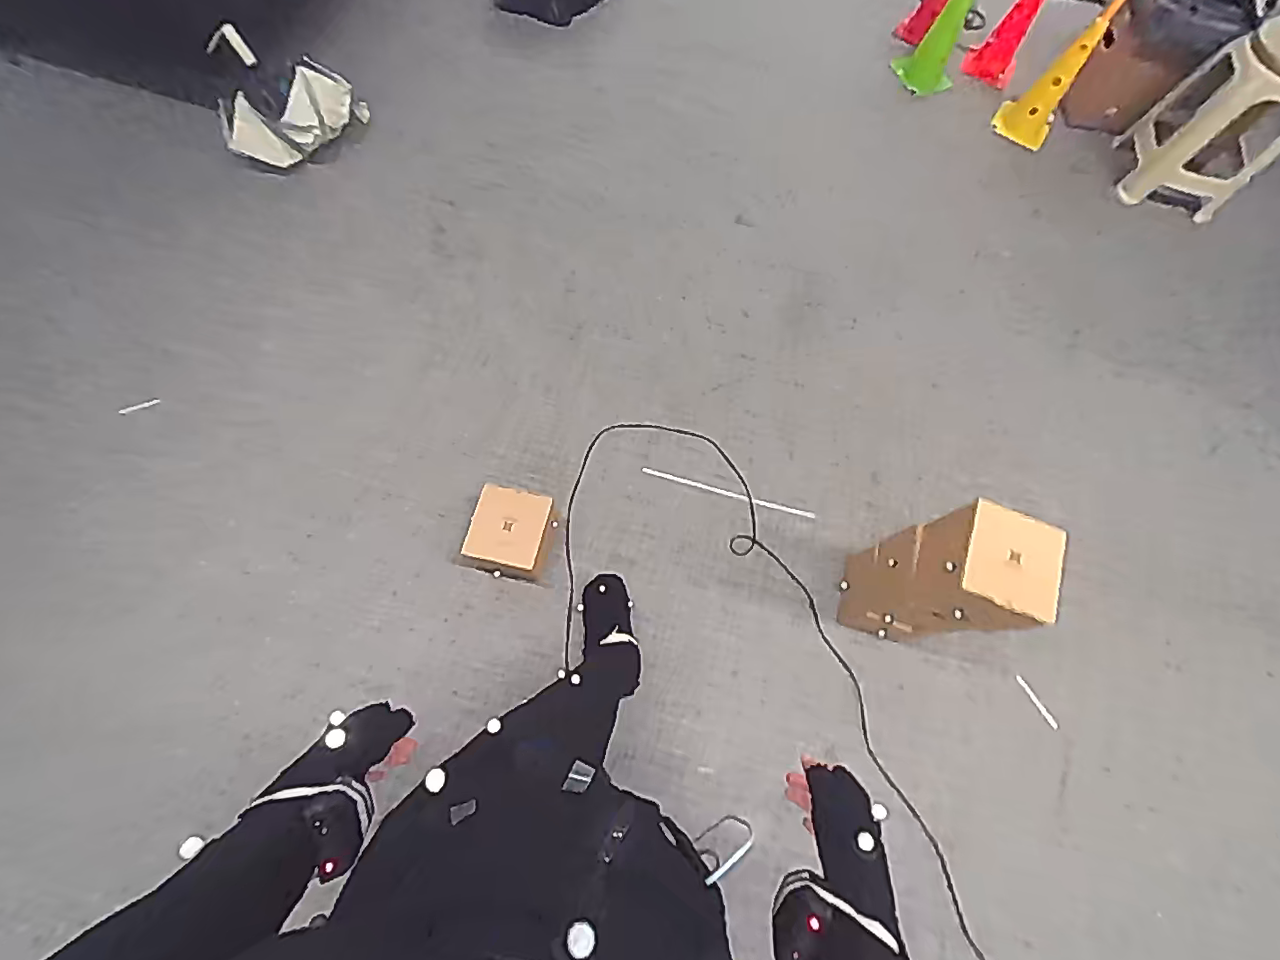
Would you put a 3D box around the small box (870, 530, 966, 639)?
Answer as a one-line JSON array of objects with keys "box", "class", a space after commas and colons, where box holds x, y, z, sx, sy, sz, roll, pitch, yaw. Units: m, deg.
[{"box": [0.616, 0.232, 1.162, 0.168, 0.176, 0.179, 18, 69, 2], "class": "small box"}]

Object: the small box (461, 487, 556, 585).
[{"box": [-0.305, 0.139, 1.297, 0.168, 0.176, 0.179, 14, 70, 1], "class": "small box"}]

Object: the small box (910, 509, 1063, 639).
[{"box": [0.636, 0.182, 1.008, 0.168, 0.176, 0.179, 23, 71, 3], "class": "small box"}]

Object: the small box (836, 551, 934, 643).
[{"box": [0.597, 0.291, 1.317, 0.168, 0.176, 0.179, 16, 71, -2], "class": "small box"}]
